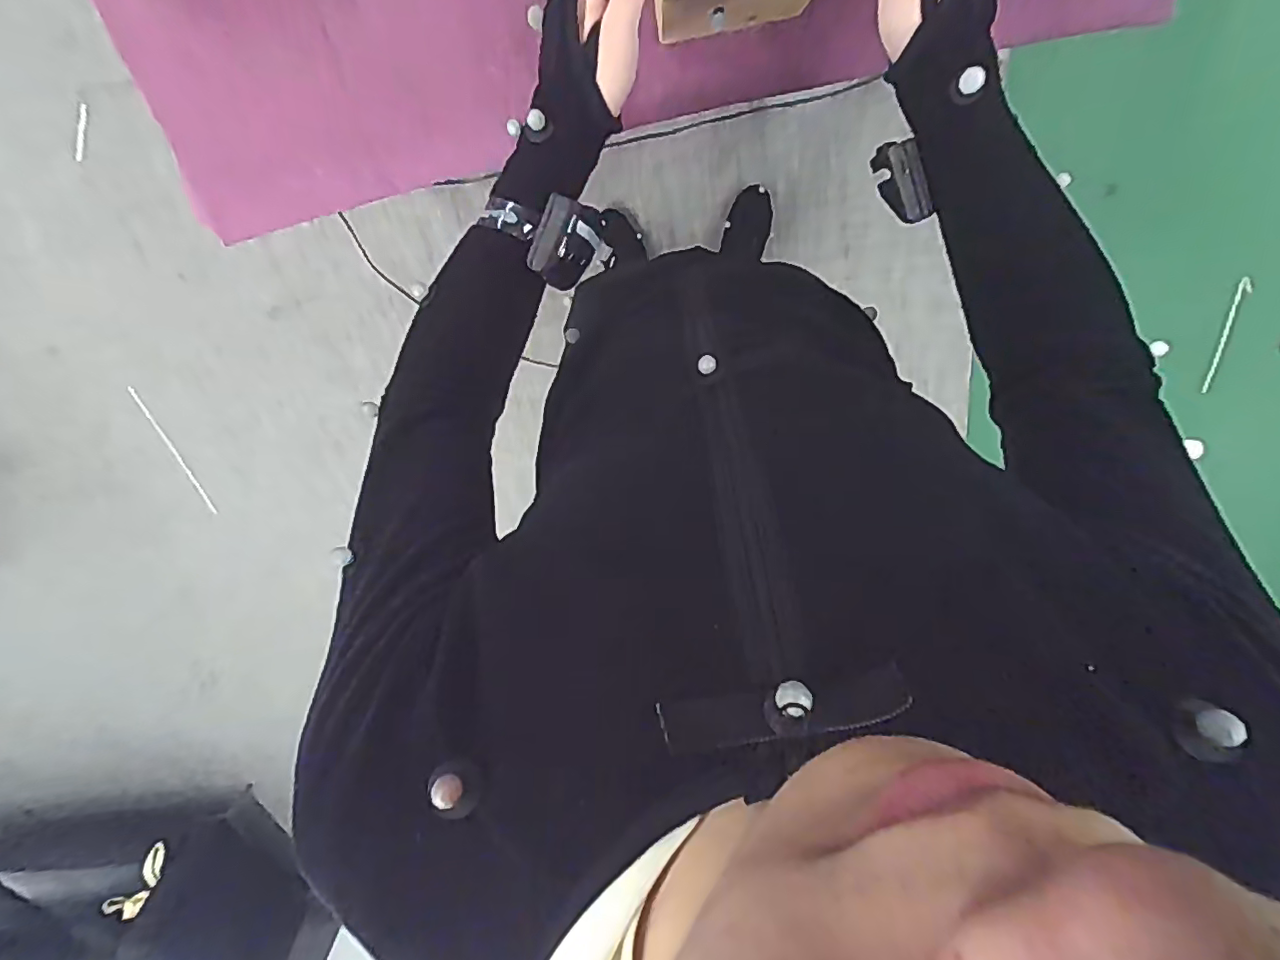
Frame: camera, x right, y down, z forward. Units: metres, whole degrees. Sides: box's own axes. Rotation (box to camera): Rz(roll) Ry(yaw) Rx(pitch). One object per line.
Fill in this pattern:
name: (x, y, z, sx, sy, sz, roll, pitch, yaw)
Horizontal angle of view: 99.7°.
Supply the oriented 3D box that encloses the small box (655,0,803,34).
small box: (0.088, -0.564, 0.522, 0.168, 0.176, 0.179, -6, 117, 7)
